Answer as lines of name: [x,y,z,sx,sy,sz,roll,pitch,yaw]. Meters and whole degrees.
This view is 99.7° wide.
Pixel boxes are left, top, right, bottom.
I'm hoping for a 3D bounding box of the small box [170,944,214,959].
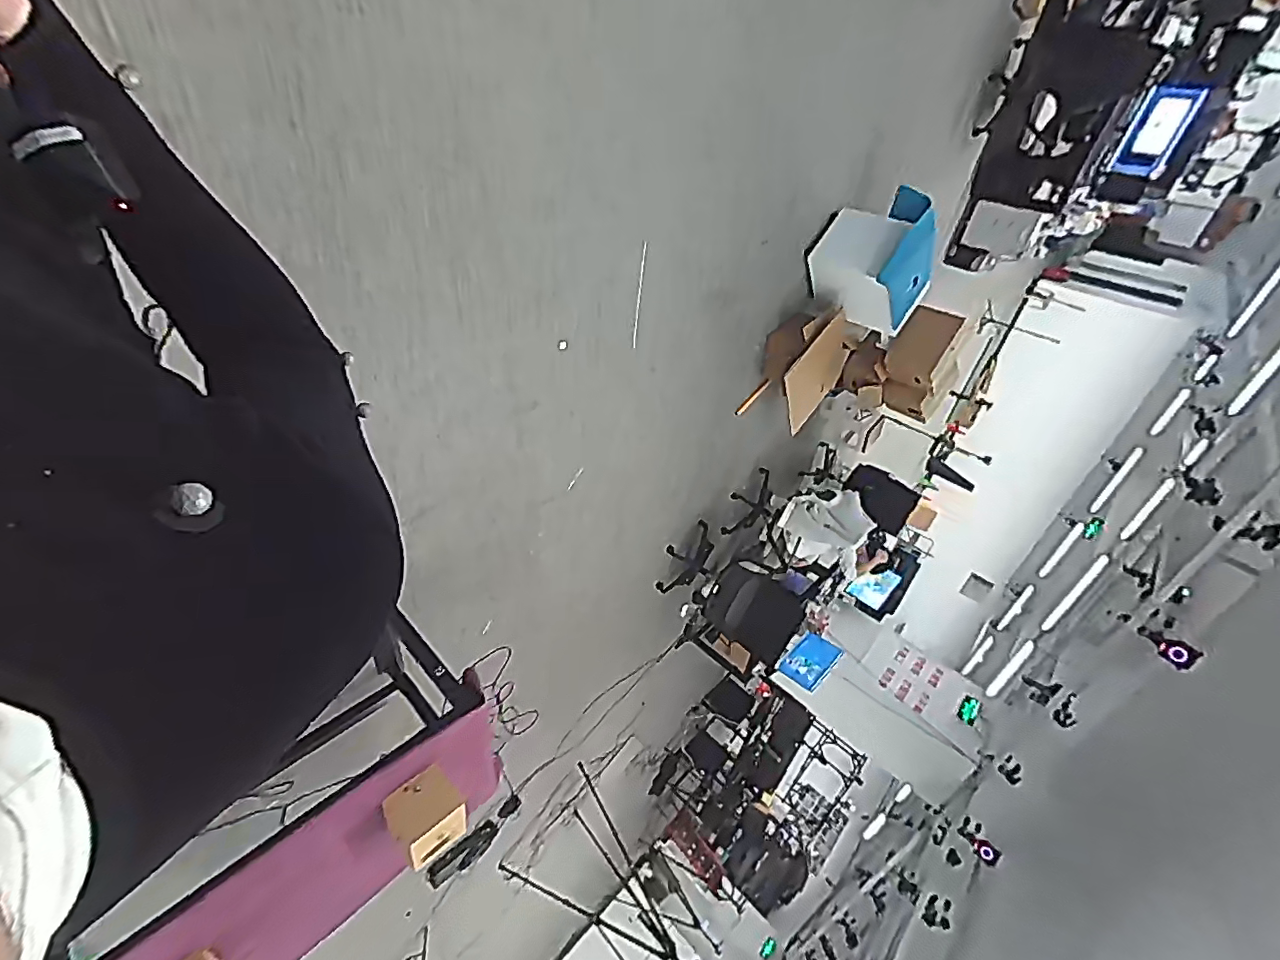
small box: [-1.063,1.226,1.238,0.168,0.176,0.179,-27,139,-41]
